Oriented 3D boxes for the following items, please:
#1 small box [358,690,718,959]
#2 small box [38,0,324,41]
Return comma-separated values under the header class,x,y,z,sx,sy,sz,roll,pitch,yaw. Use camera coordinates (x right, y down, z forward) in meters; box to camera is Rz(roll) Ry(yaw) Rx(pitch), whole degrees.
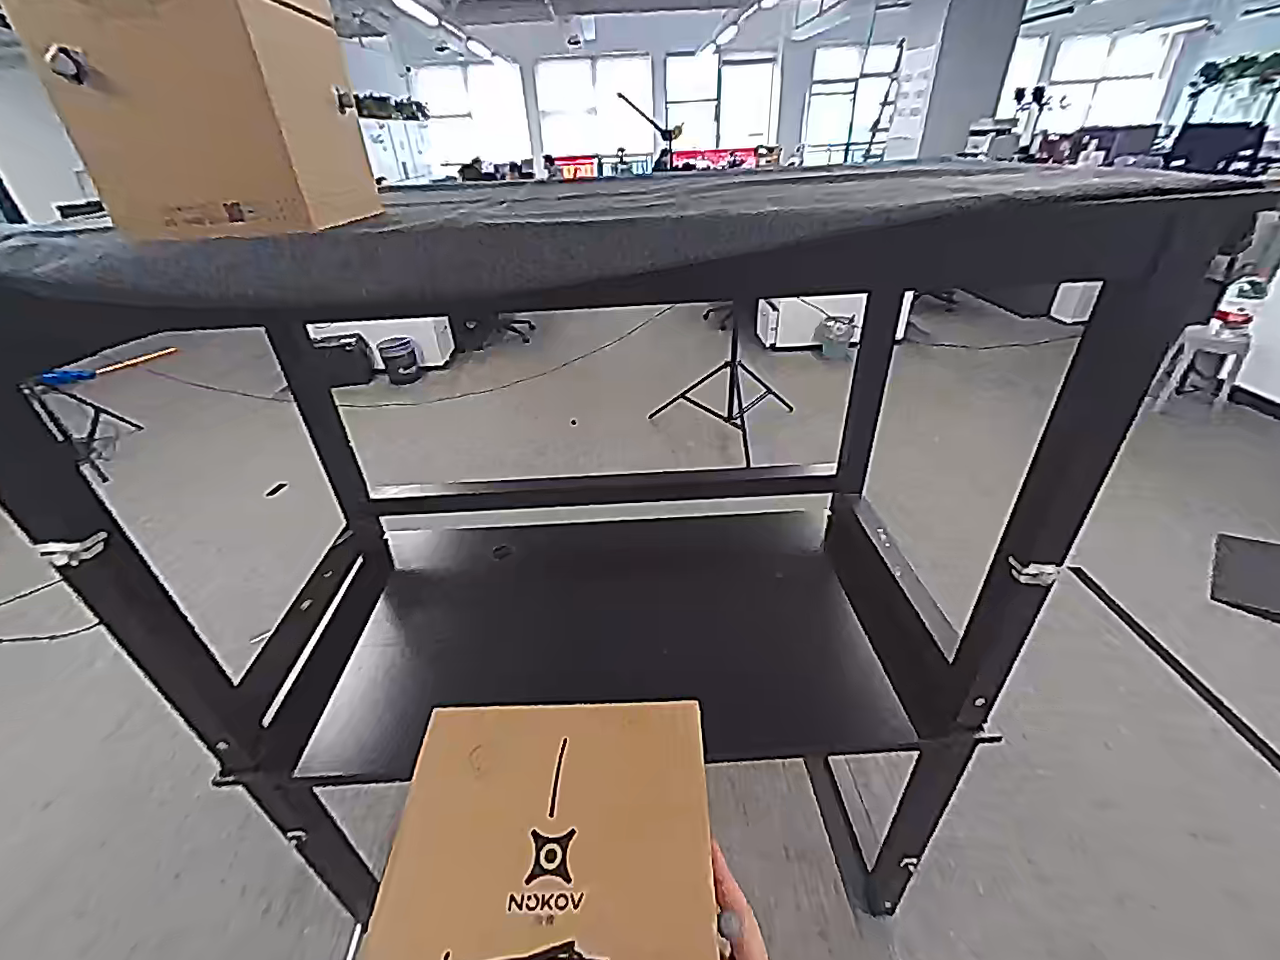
class,x,y,z,sx,sy,sz,roll,pitch,yaw
small box,-0.039,0.247,0.319,0.168,0.176,0.179,-2,42,2
small box,-0.377,-0.458,0.409,0.168,0.176,0.179,-3,31,-1
